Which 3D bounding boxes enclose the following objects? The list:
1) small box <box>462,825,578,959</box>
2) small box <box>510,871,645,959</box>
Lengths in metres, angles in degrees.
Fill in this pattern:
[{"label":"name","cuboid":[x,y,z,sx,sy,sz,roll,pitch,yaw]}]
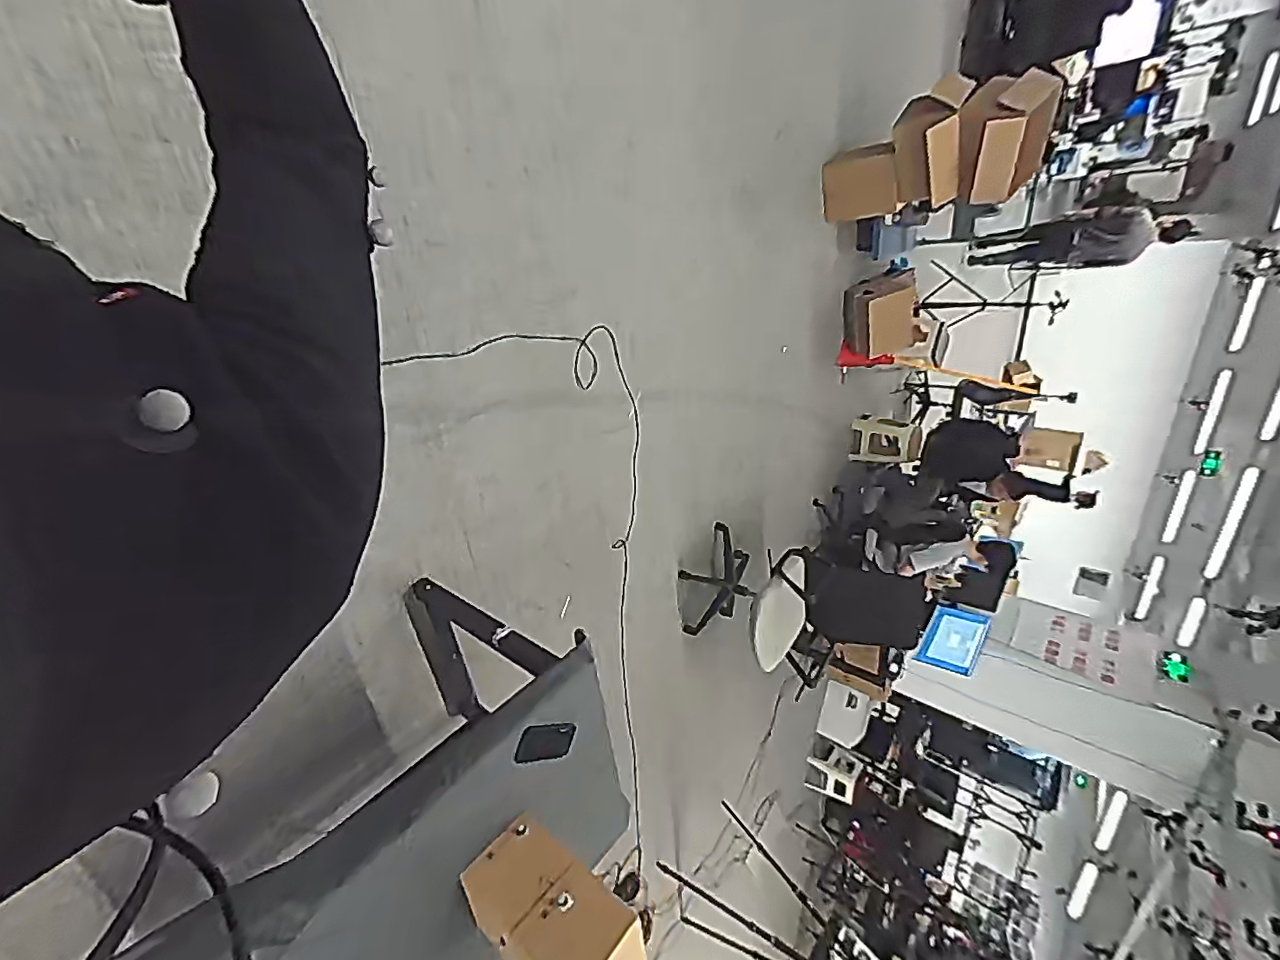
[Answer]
[{"label":"small box","cuboid":[-0.231,0.839,1.083,0.168,0.176,0.179,-30,124,-42]},{"label":"small box","cuboid":[-0.110,0.867,0.979,0.168,0.176,0.179,-31,124,-42]}]
